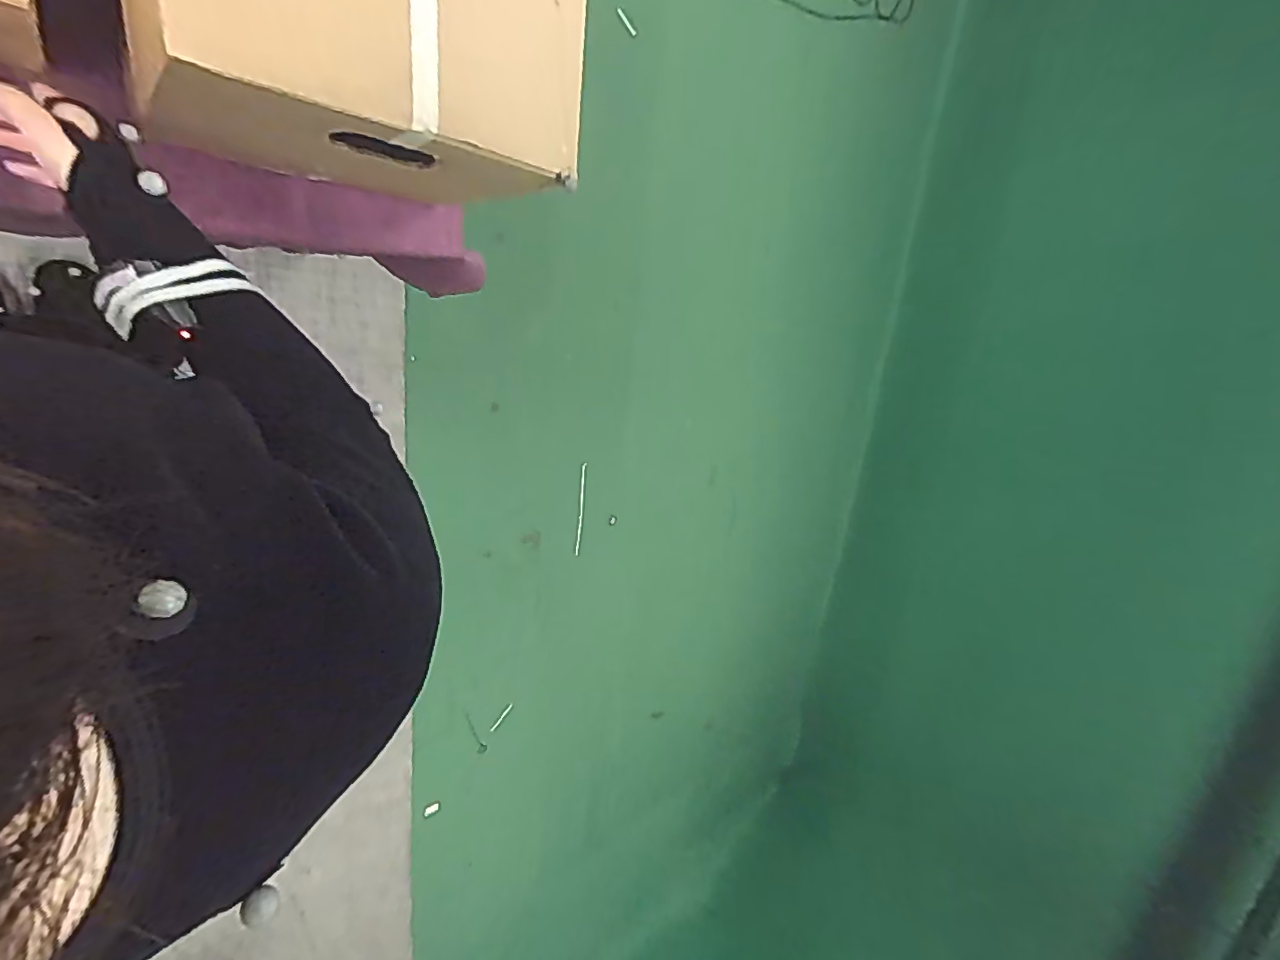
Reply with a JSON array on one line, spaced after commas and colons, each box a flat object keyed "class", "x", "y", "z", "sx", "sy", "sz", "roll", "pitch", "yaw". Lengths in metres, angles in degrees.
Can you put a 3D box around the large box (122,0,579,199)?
[{"class": "large box", "x": -0.265, "y": -0.514, "z": 0.488, "sx": 0.320, "sy": 0.320, "sz": 0.408, "roll": -10, "pitch": 113, "yaw": -44}]
